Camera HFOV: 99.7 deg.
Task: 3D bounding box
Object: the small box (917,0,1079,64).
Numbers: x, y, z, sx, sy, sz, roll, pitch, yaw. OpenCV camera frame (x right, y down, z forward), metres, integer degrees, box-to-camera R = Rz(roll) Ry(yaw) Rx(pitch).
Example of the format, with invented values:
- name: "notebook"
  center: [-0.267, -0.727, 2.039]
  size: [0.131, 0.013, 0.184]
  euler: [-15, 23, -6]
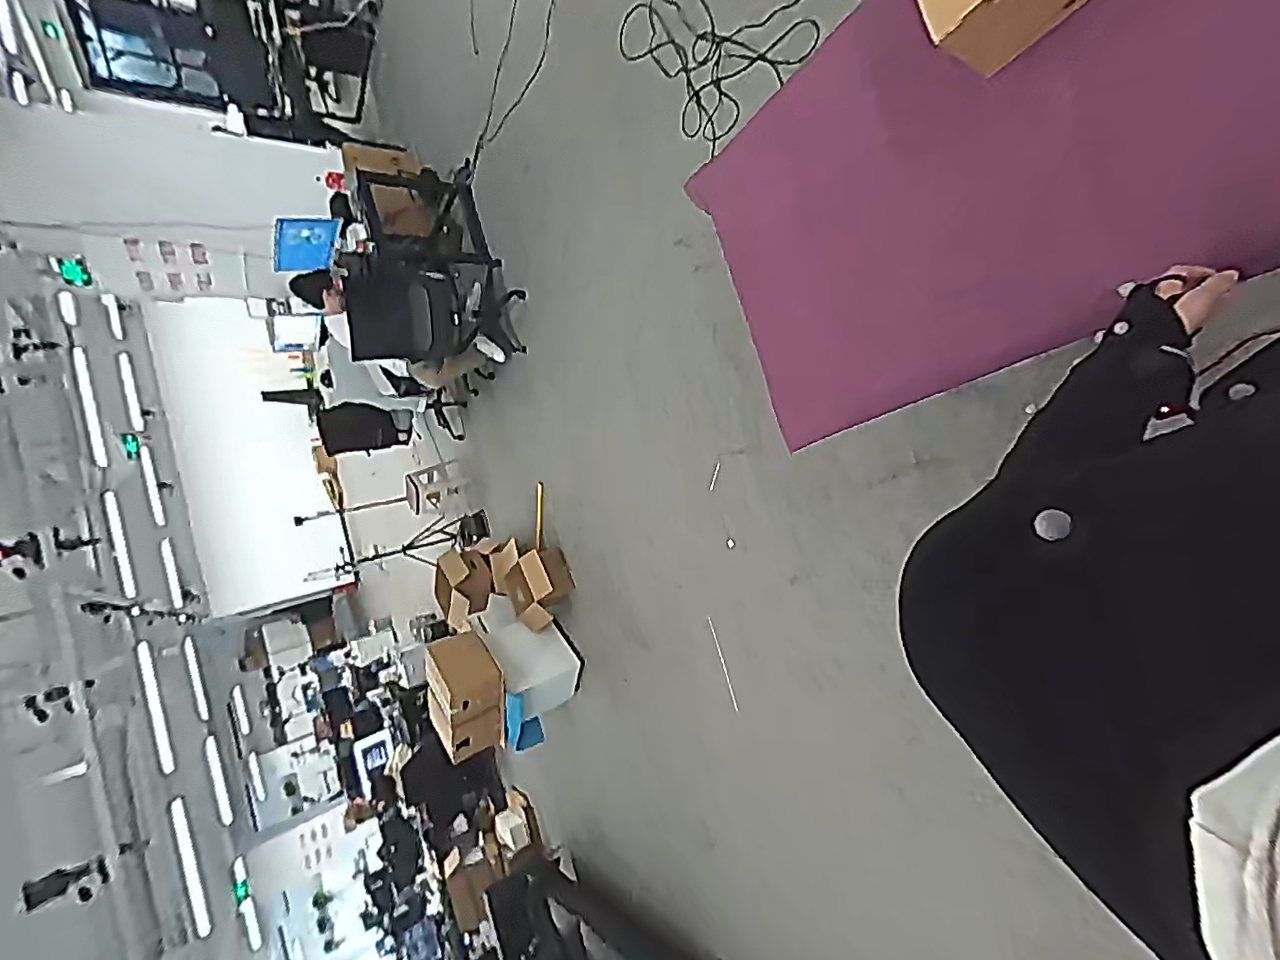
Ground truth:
- name: "small box"
  center: [0.450, -0.656, 0.661]
  size: [0.168, 0.176, 0.179]
  euler: [-23, 82, 53]
